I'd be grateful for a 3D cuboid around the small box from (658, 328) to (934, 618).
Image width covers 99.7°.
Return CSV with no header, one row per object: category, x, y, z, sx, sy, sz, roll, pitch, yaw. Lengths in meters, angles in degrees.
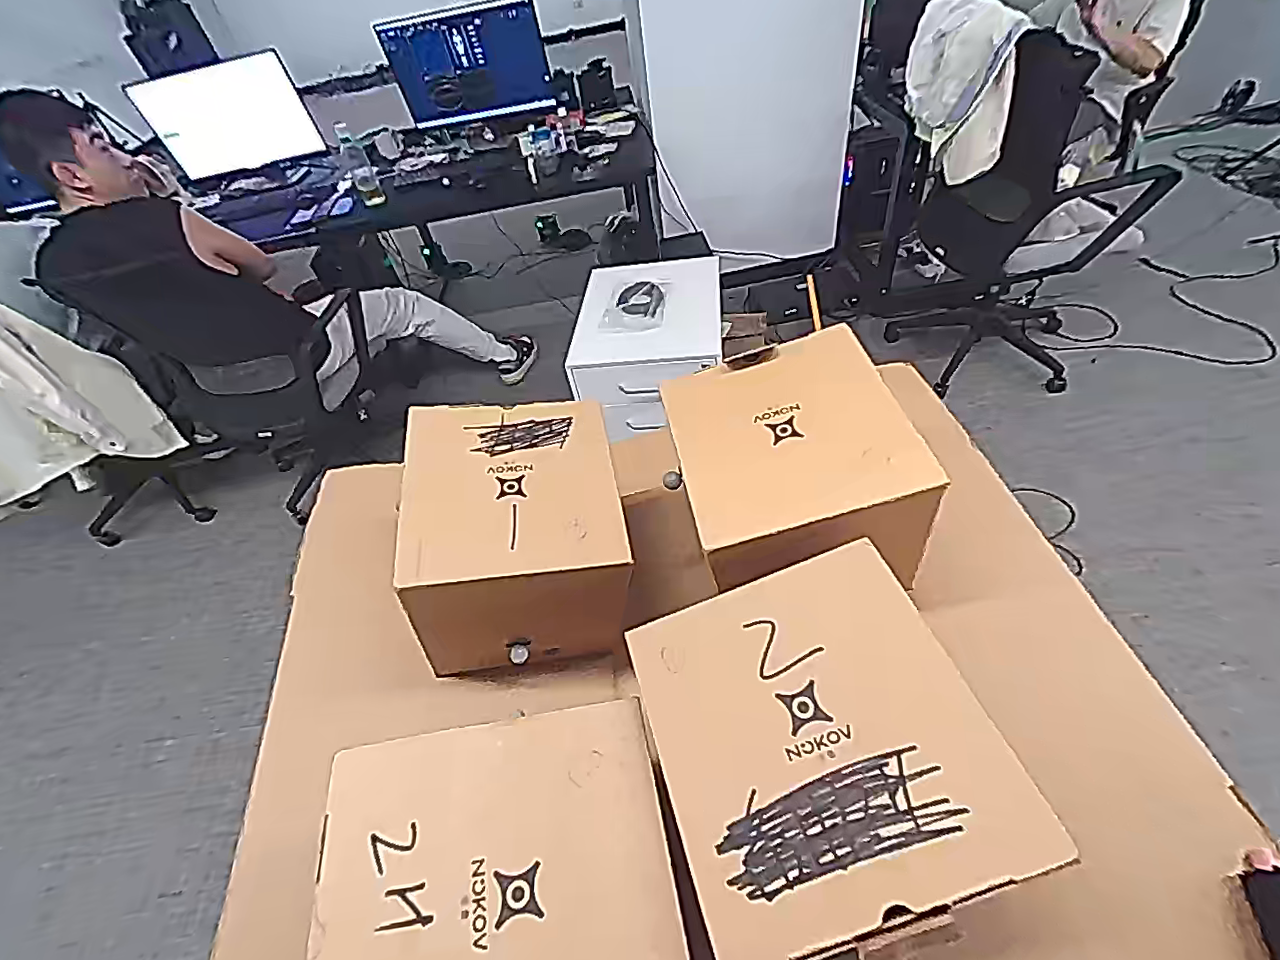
small box,0.127,0.005,0.476,0.168,0.176,0.179,-17,50,6
